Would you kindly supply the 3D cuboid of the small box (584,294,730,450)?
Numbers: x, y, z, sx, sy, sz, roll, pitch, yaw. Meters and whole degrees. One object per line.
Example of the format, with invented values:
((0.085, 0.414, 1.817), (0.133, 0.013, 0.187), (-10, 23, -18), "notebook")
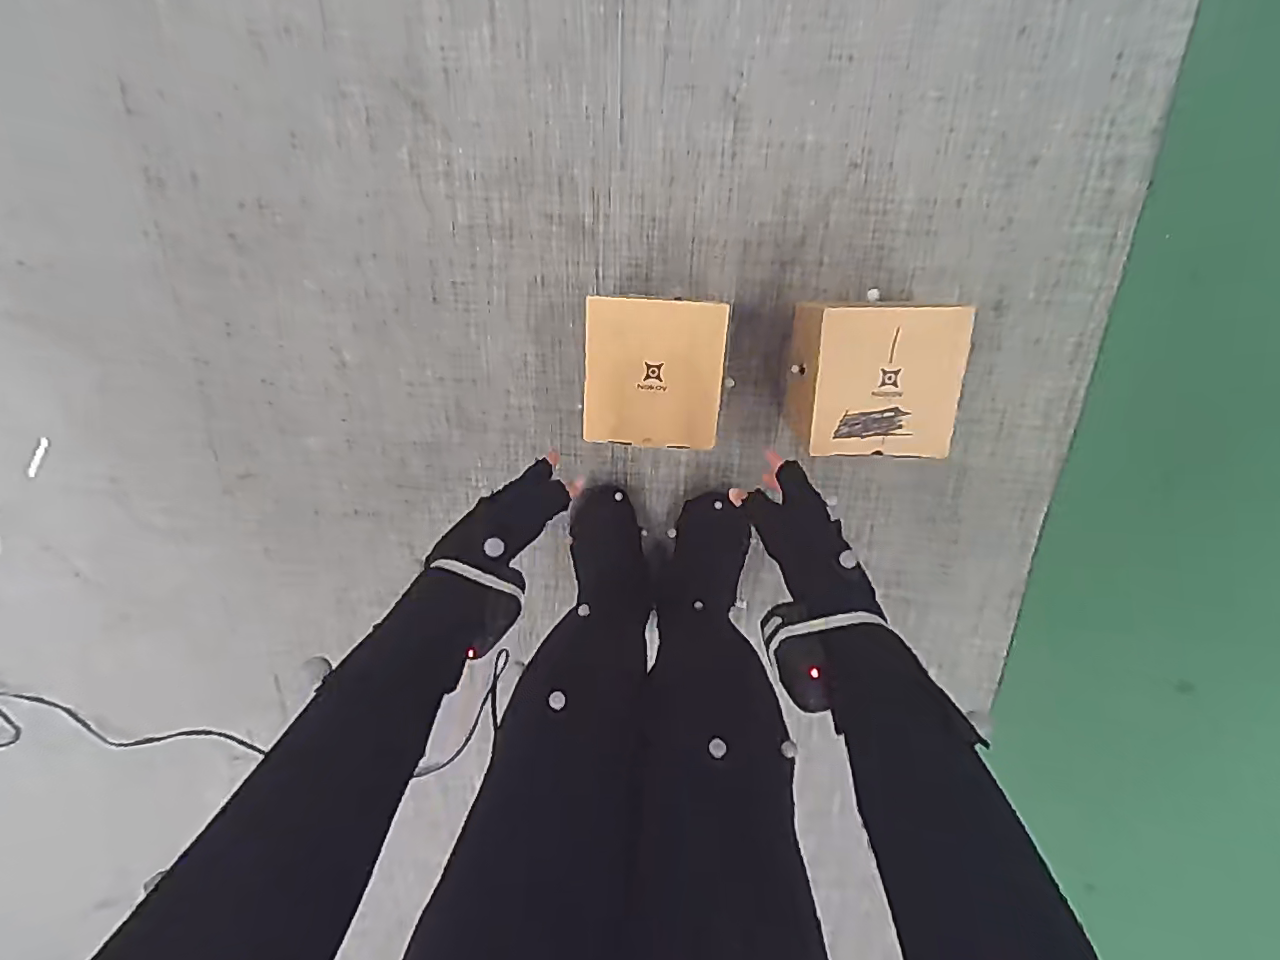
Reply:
((0.021, -0.150, 0.714), (0.168, 0.176, 0.179), (4, 110, 3), "small box")

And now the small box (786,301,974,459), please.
((0.288, -0.136, 0.695), (0.168, 0.176, 0.179), (1, 109, 4), "small box")
